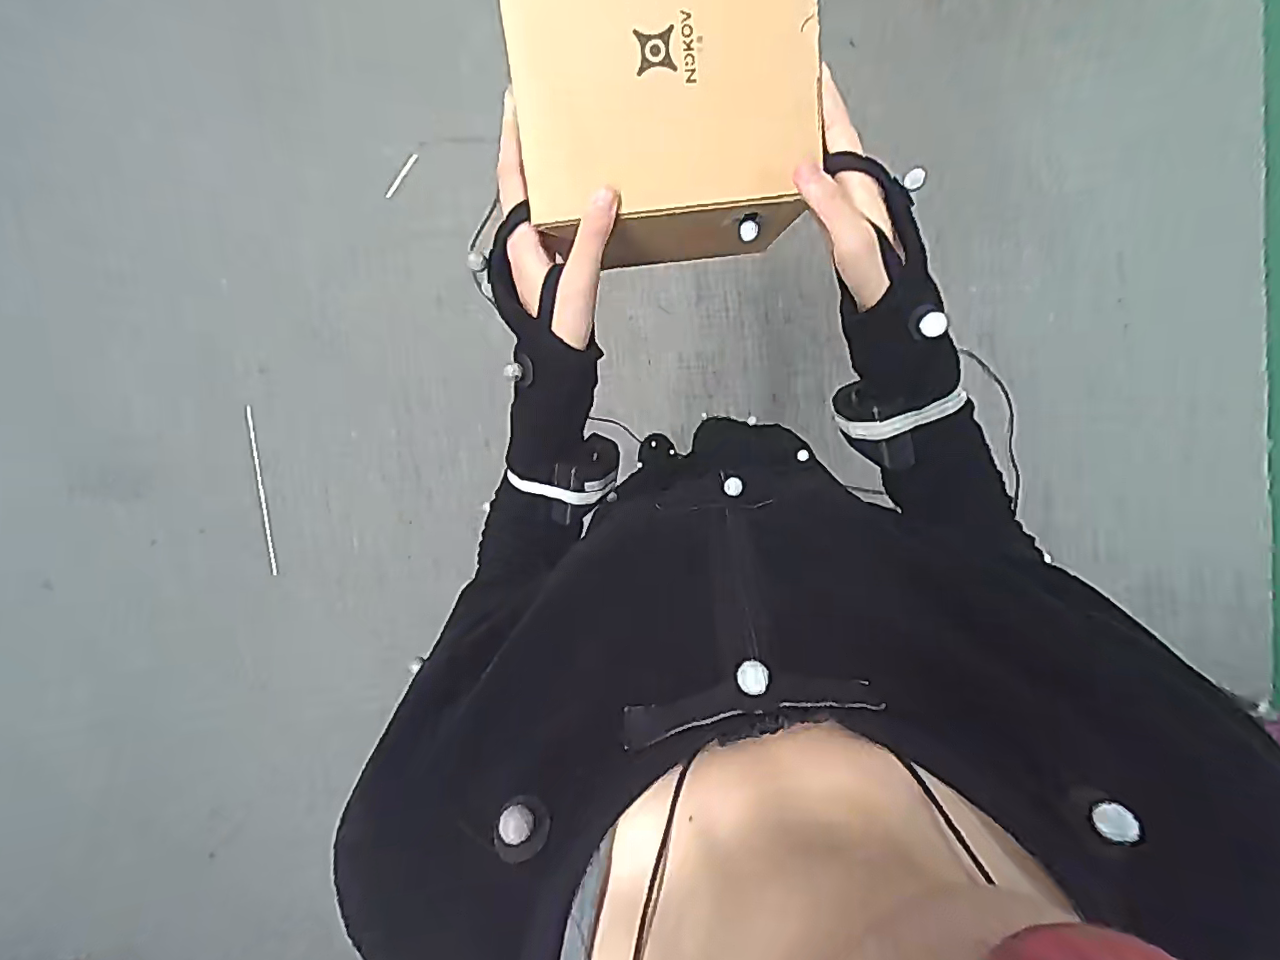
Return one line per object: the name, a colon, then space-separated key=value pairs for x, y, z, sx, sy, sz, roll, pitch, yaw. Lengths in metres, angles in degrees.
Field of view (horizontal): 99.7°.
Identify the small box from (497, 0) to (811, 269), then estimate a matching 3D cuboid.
small box: x=0.010 y=-0.256 z=0.386 sx=0.179 sy=0.176 sz=0.168 roll=-5 pitch=102 yaw=1
